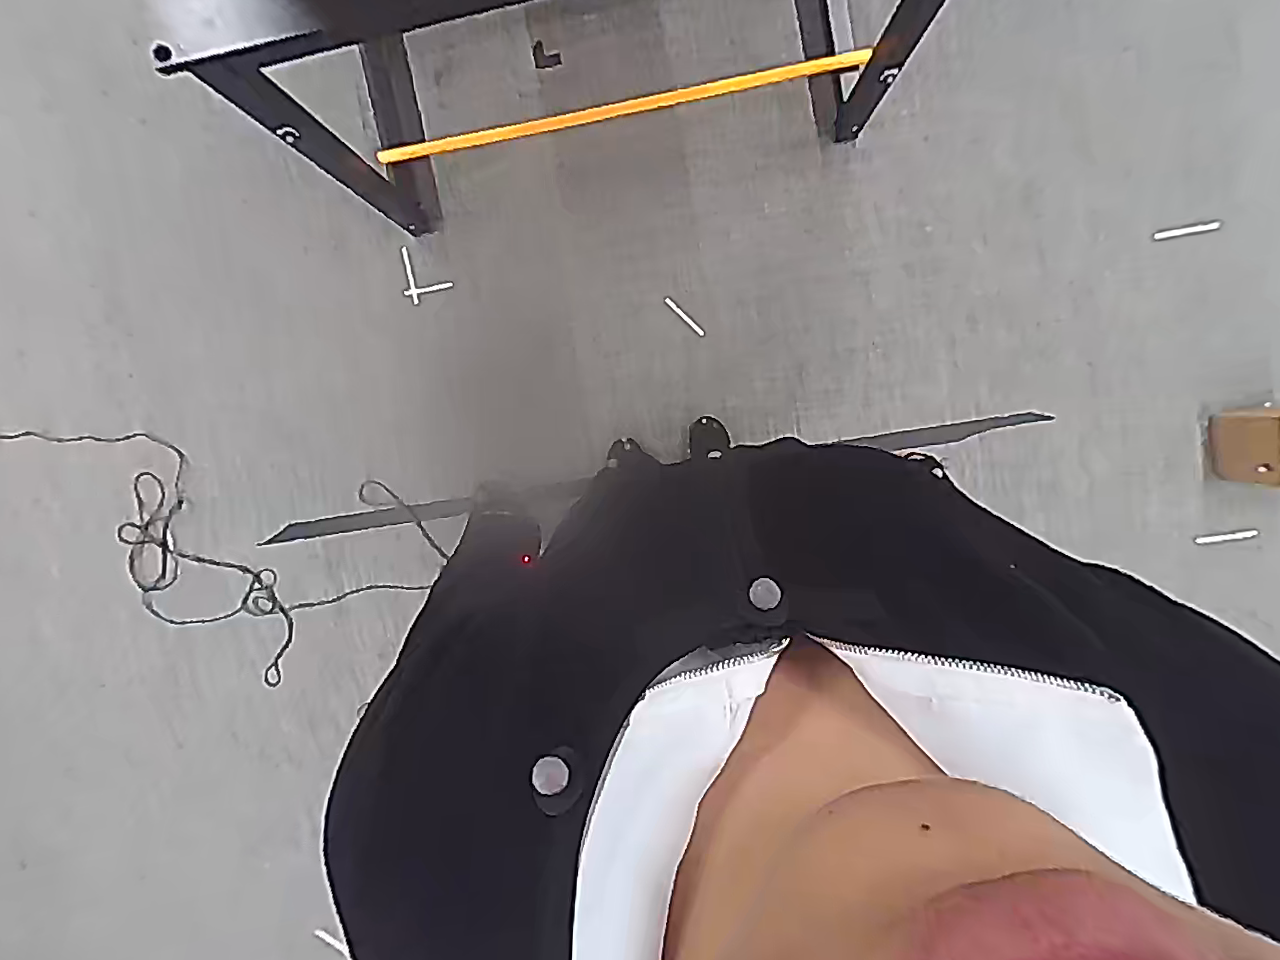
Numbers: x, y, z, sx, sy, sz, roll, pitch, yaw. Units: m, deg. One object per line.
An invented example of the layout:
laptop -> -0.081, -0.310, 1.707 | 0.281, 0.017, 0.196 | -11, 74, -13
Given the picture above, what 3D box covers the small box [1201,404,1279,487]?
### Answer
small box -> 1.557, -0.091, 1.340 | 0.168, 0.176, 0.179 | -11, 96, 4
